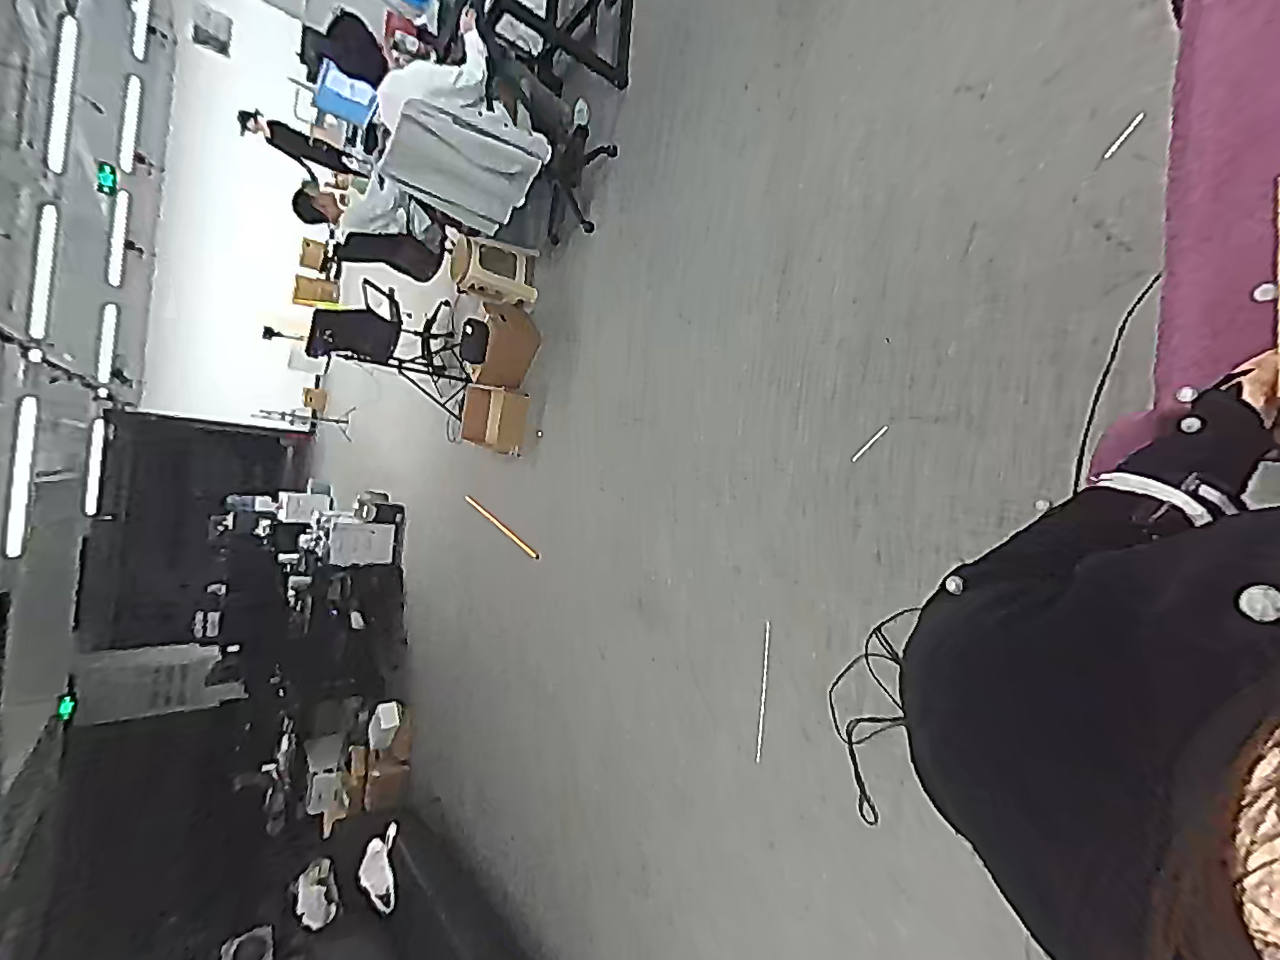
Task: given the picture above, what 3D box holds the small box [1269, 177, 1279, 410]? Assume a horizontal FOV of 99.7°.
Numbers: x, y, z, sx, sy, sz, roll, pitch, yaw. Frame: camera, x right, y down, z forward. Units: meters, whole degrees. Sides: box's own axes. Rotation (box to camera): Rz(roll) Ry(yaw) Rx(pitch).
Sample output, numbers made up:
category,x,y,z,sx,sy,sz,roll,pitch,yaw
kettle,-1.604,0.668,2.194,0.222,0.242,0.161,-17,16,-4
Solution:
category,x,y,z,sx,sy,sz,roll,pitch,yaw
small box,0.597,-0.143,0.403,0.168,0.176,0.179,0,86,51
